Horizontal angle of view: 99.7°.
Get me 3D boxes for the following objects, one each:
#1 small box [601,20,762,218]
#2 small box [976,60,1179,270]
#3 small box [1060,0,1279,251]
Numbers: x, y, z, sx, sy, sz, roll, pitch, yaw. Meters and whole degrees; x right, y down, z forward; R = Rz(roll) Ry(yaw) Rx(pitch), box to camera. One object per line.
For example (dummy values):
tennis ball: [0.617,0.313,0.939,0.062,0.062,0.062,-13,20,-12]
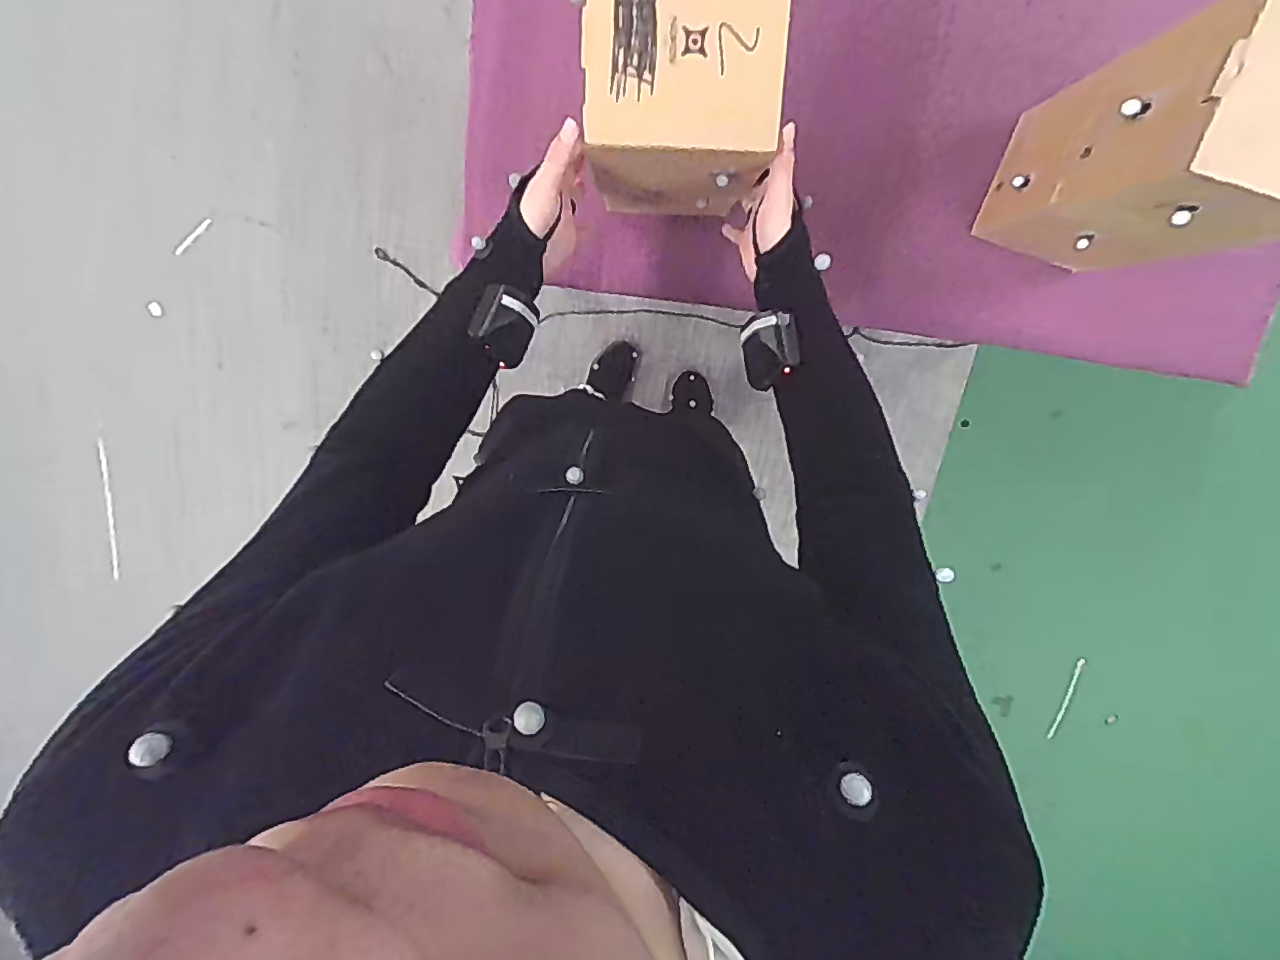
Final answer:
small box: [0.045,-0.442,0.691,0.179,0.176,0.168,3,105,0]
small box: [0.587,-0.386,0.701,0.179,0.176,0.168,18,104,-4]
small box: [0.585,-0.344,0.543,0.179,0.176,0.168,15,105,-2]
